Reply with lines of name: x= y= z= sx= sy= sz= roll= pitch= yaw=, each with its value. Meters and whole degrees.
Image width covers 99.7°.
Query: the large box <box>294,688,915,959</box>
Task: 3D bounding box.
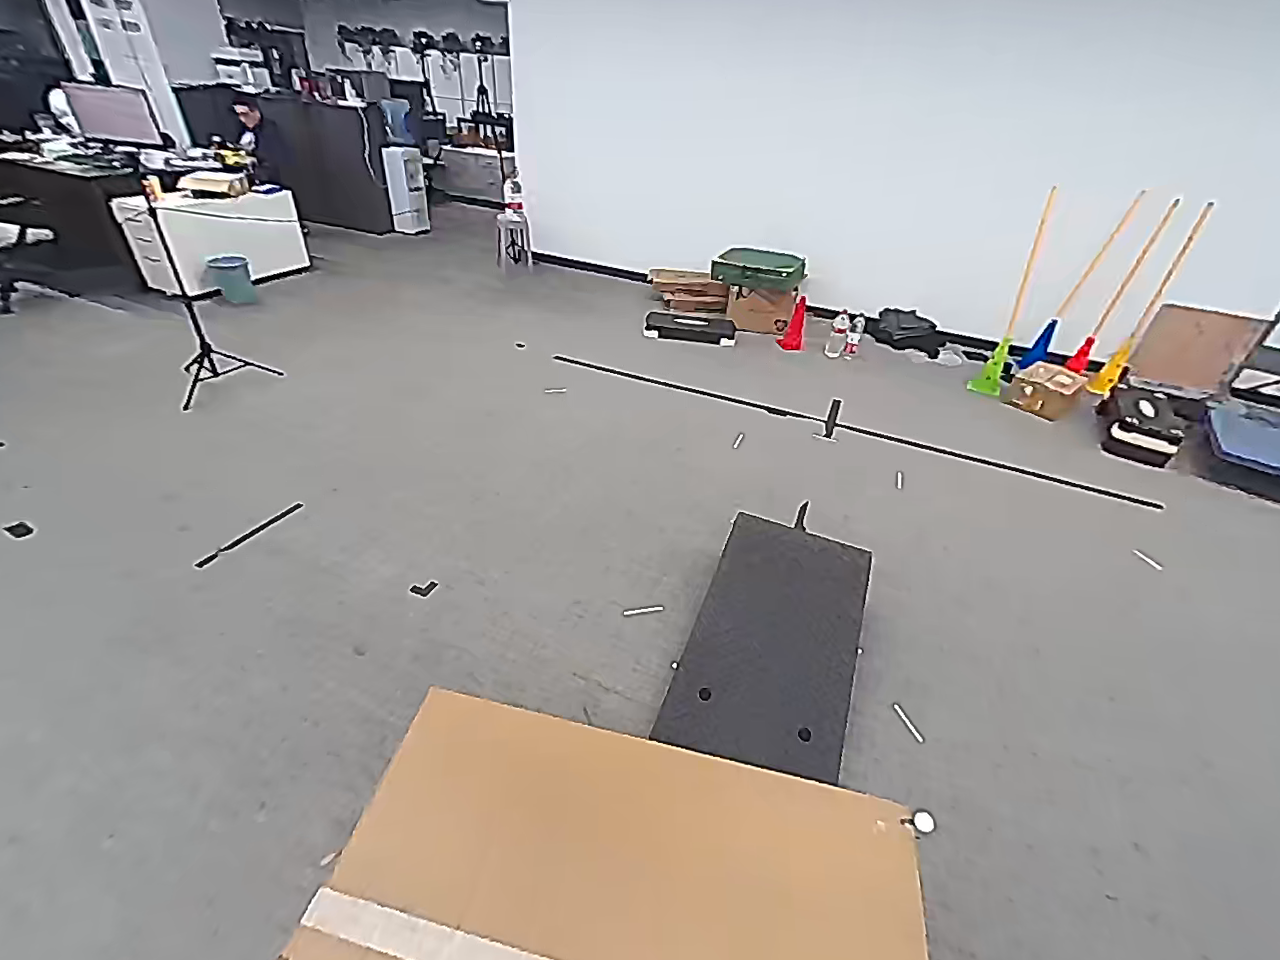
large box: x=-0.028 y=0.425 z=0.455 sx=0.408 sy=0.320 sz=0.320 roll=10 pitch=47 yaw=9

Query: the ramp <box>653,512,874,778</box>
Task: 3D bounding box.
ramp: x=0.407 y=0.516 z=1.646 sx=0.509 sy=0.206 sz=0.991 roll=17 pitch=38 yaw=14
